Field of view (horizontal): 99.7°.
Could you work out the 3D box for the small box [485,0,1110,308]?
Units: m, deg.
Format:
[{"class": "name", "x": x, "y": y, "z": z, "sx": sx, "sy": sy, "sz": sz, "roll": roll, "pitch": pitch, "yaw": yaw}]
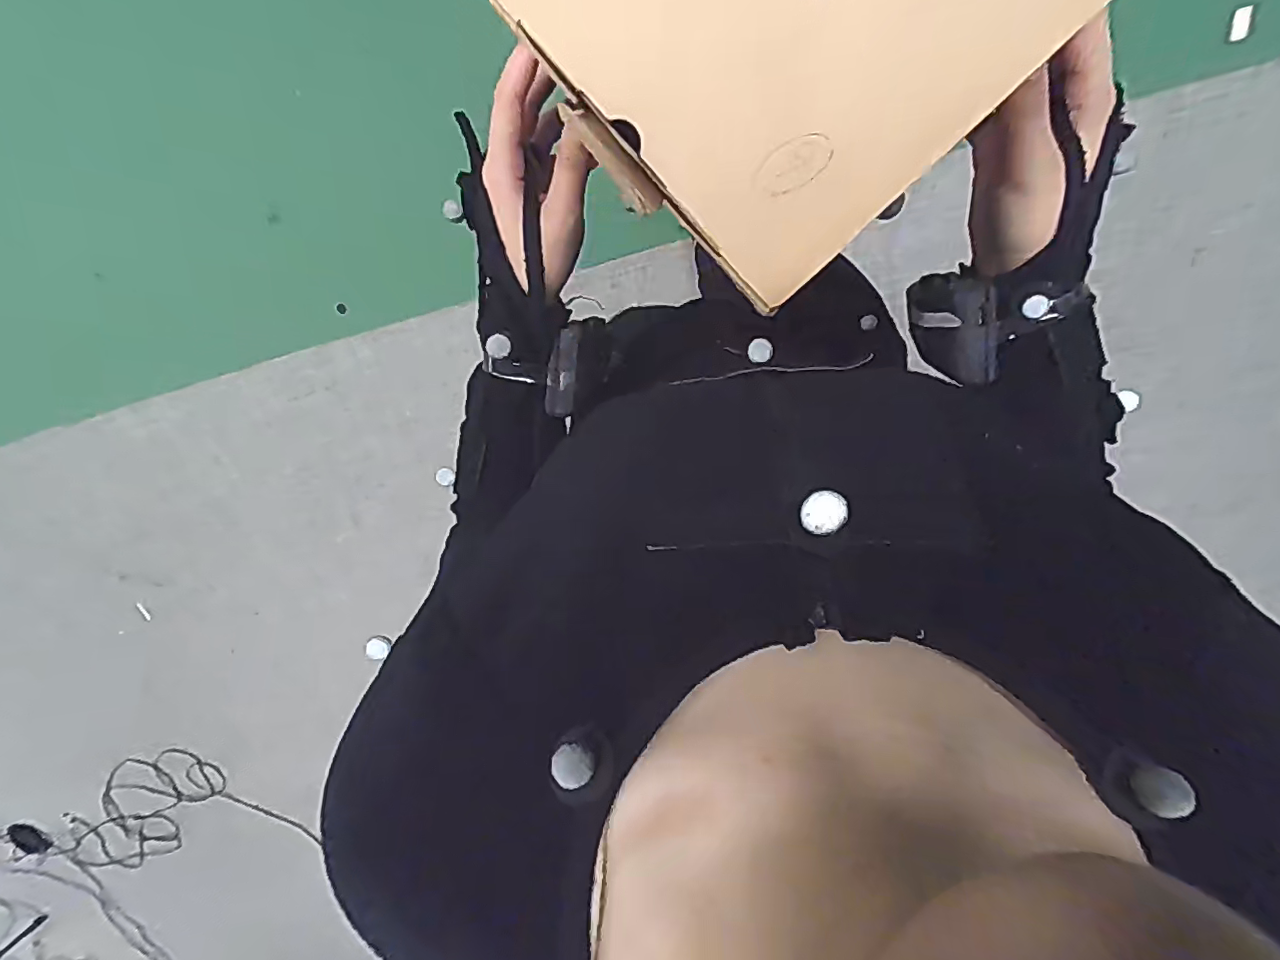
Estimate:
[{"class": "small box", "x": 0.068, "y": -0.206, "z": 0.252, "sx": 0.168, "sy": 0.176, "sz": 0.179, "roll": 44, "pitch": 111, "yaw": -10}]
